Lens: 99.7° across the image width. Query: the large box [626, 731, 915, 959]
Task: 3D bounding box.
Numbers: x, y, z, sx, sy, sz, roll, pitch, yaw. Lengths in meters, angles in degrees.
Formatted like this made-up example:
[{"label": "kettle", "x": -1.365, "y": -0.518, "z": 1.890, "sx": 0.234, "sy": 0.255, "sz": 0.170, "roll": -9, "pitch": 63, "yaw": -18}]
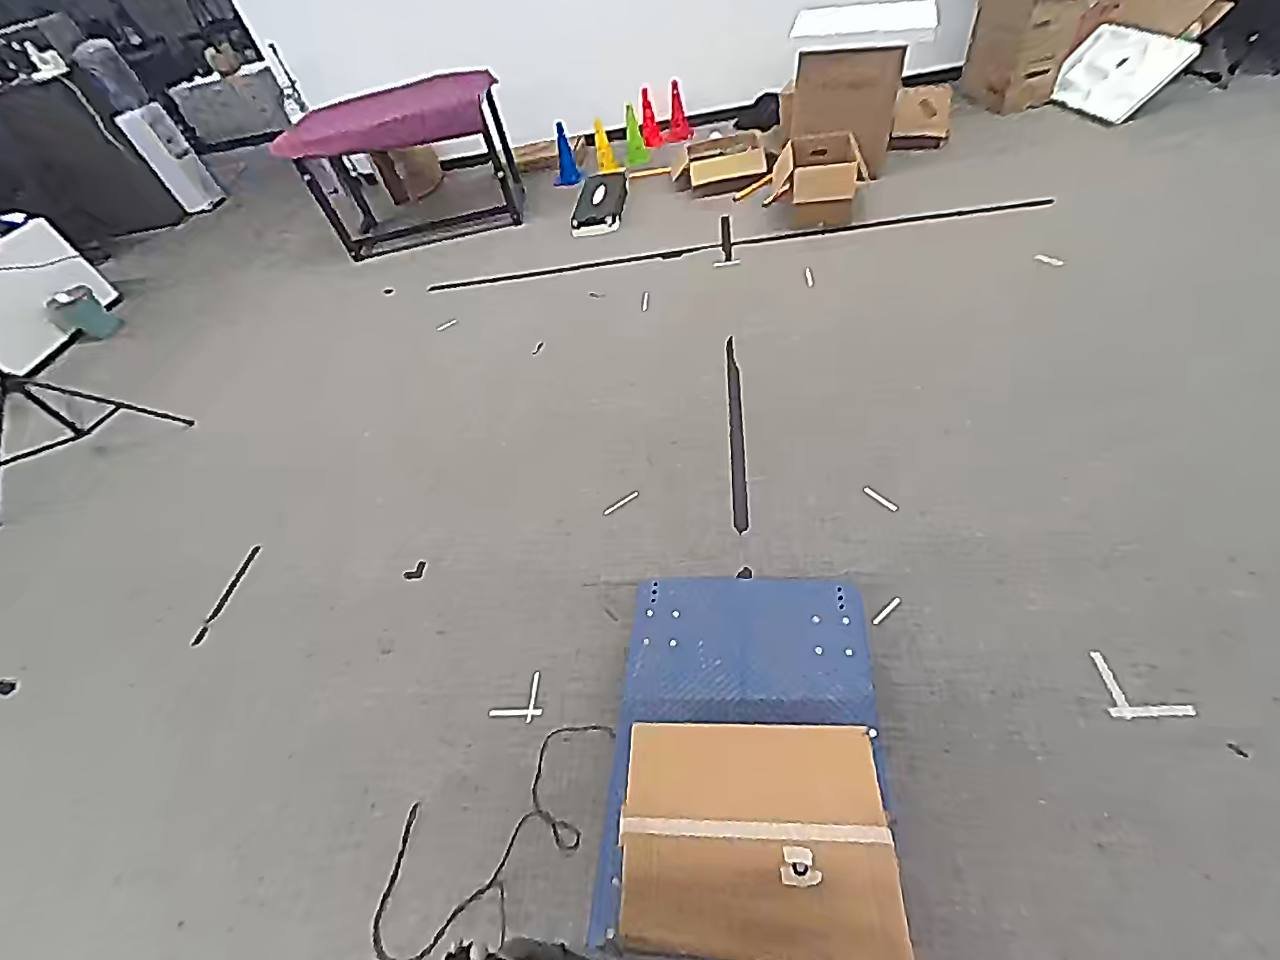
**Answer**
[{"label": "large box", "x": 0.200, "y": 0.652, "z": 0.952, "sx": 0.408, "sy": 0.320, "sz": 0.320, "roll": -3, "pitch": 50, "yaw": 8}]
